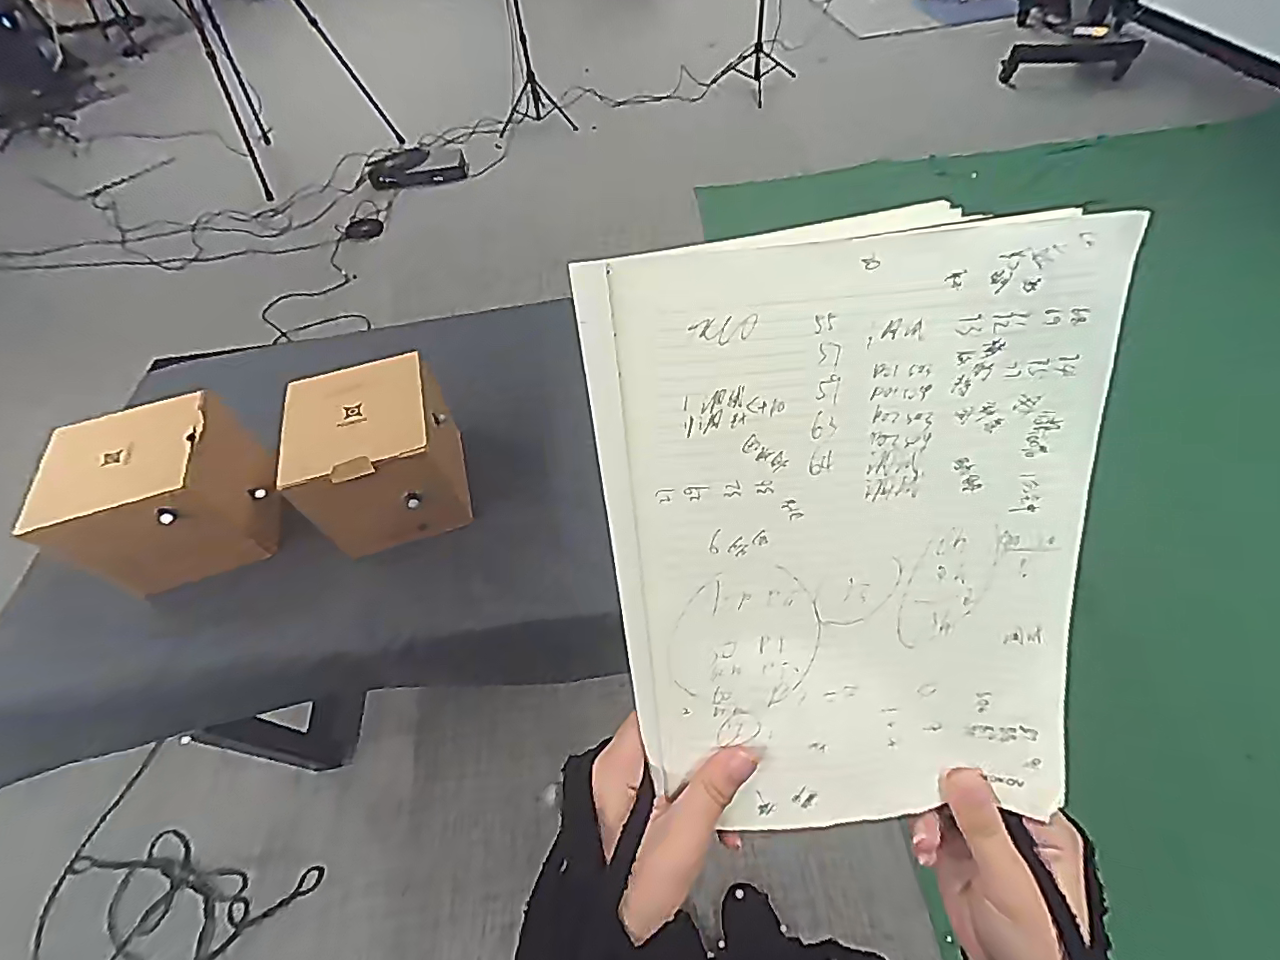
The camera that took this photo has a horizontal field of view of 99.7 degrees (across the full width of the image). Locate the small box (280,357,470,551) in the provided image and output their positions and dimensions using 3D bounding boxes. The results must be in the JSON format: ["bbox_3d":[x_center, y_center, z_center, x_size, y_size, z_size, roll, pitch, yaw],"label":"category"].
[{"bbox_3d":[-0.332,-0.026,0.707,0.168,0.176,0.179,-16,53,-8],"label":"small box"}]

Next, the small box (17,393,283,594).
[{"bbox_3d":[-0.600,0.022,0.695,0.179,0.176,0.168,-17,54,-9],"label":"small box"}]
